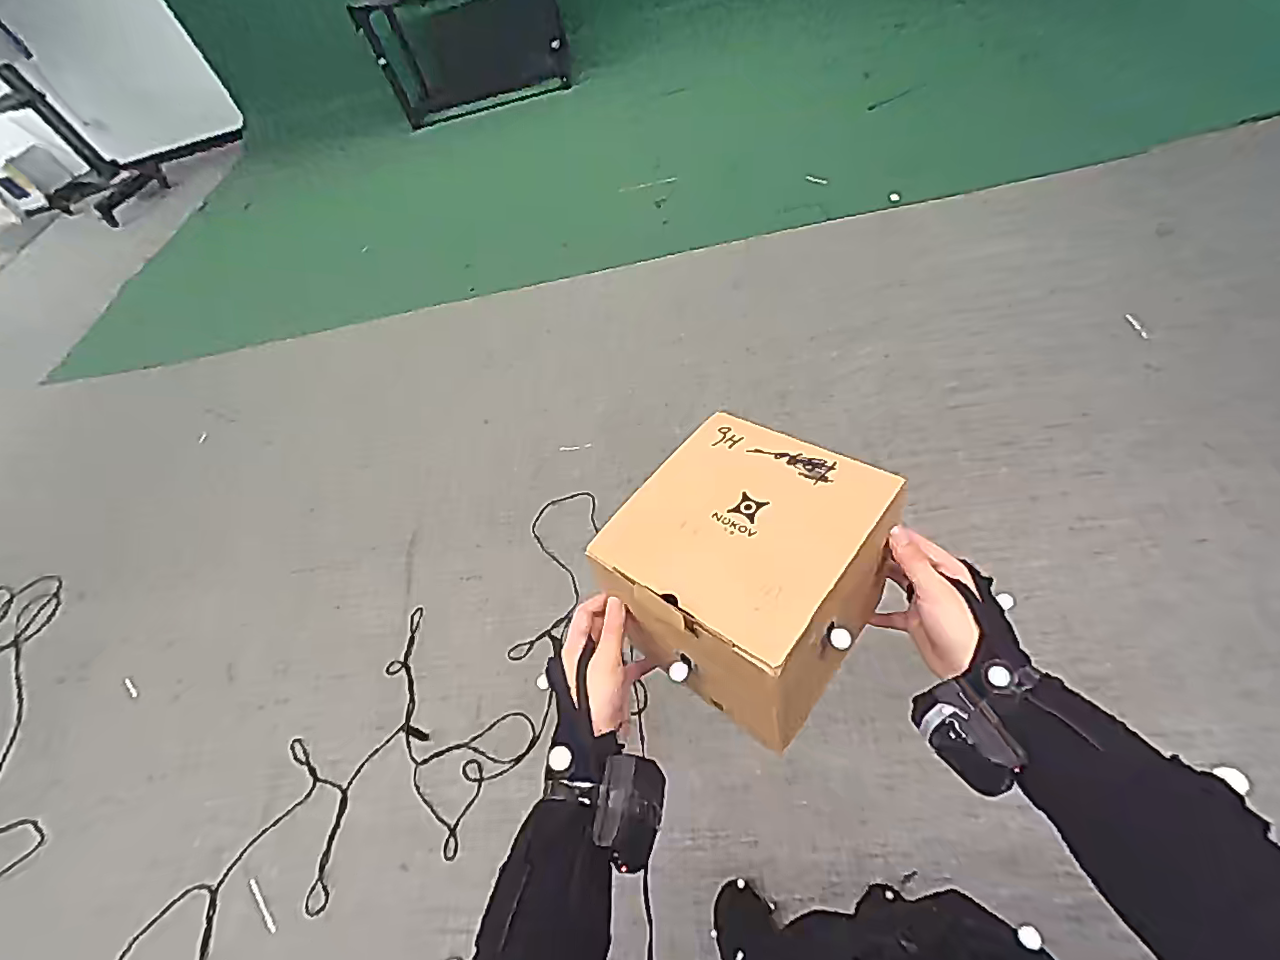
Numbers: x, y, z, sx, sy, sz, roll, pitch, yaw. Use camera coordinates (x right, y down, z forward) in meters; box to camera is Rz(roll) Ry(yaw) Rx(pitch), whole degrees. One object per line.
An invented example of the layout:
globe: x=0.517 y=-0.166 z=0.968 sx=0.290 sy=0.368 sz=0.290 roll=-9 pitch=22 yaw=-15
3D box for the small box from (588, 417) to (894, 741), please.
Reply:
small box: x=0.090 y=0.083 z=0.458 sx=0.168 sy=0.176 sz=0.179 roll=27 pitch=61 yaw=34
